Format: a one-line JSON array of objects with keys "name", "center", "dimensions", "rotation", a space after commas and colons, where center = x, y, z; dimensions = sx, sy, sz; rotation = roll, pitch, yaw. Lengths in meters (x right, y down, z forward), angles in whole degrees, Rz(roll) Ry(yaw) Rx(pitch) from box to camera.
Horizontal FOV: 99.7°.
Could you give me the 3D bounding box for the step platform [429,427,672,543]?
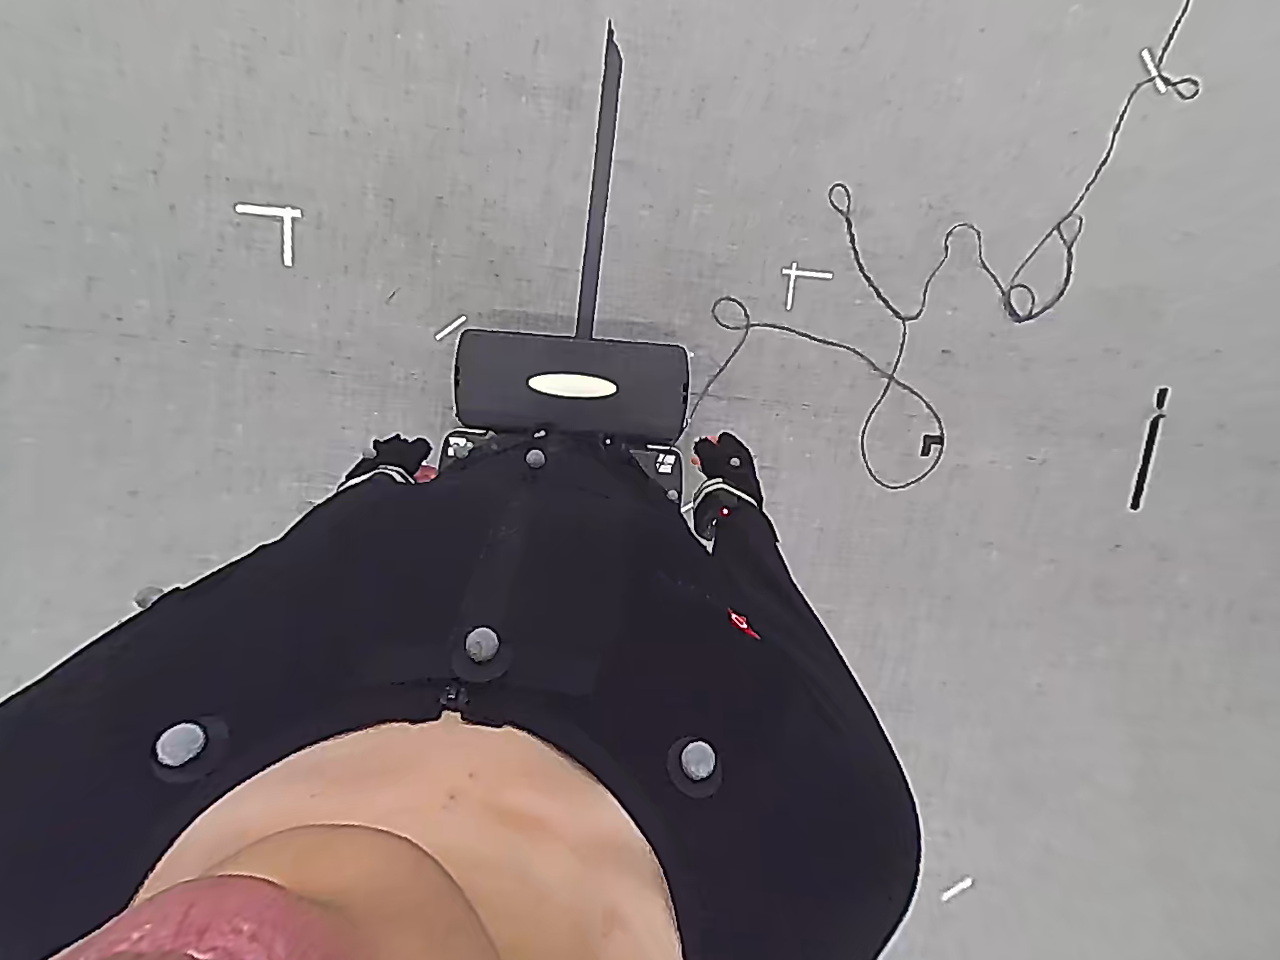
[{"name": "step platform", "center": [-0.247, 0.013, 1.564], "dimensions": [0.684, 0.204, 0.286], "rotation": [4, 96, -3]}]
